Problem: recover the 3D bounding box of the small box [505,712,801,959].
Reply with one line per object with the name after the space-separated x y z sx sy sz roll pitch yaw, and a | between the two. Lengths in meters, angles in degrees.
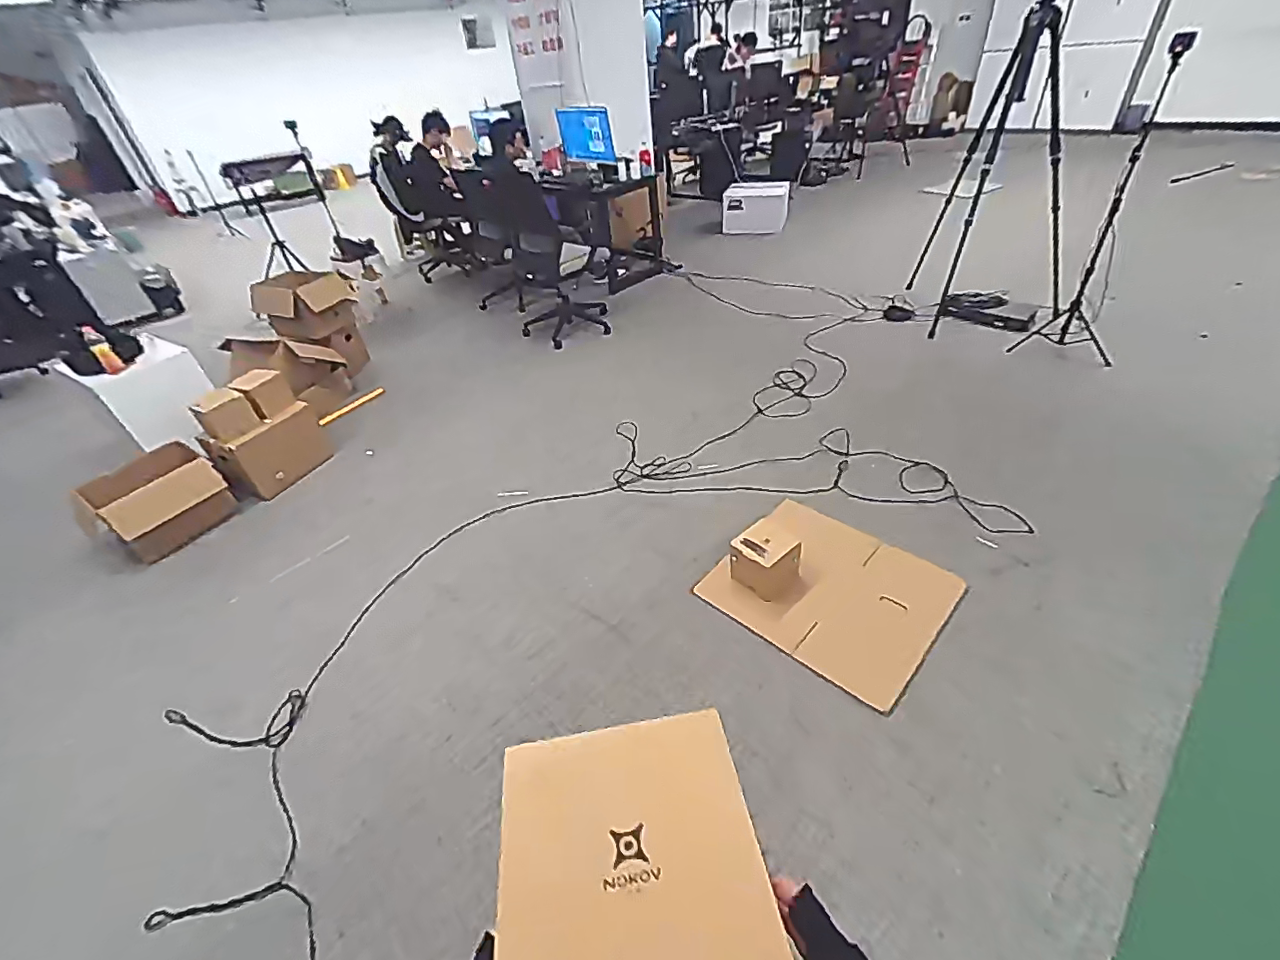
0.002 0.304 0.389 0.168 0.176 0.179 -8 35 -6 | small box
